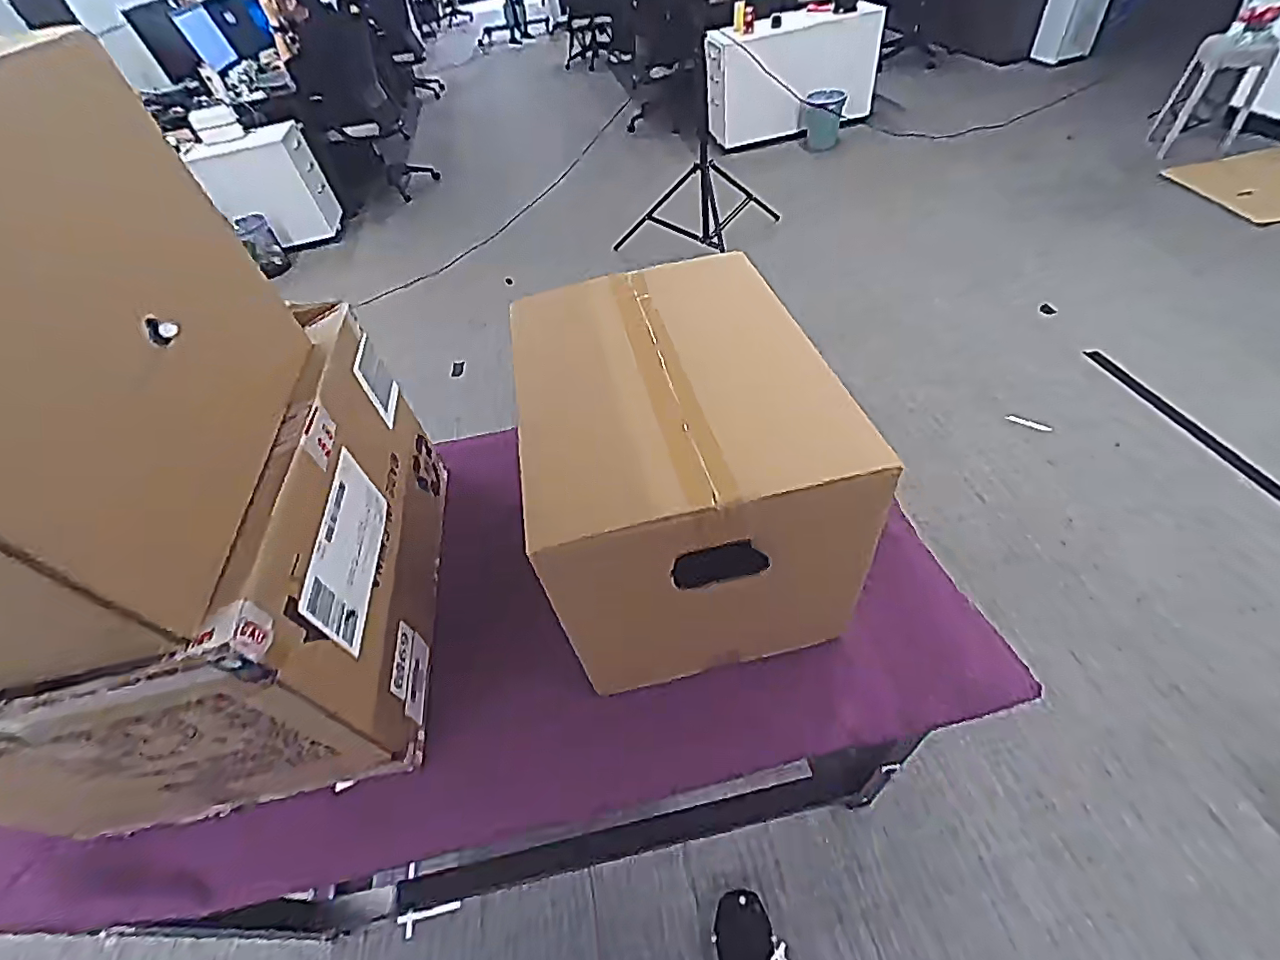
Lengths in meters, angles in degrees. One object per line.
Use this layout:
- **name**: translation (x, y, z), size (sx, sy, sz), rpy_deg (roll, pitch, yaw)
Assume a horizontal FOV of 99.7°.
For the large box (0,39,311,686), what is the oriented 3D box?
- **large box**: translation (-0.525, -0.088, 0.423), size (0.320, 0.320, 0.408), rpy_deg (-15, 48, -1)
